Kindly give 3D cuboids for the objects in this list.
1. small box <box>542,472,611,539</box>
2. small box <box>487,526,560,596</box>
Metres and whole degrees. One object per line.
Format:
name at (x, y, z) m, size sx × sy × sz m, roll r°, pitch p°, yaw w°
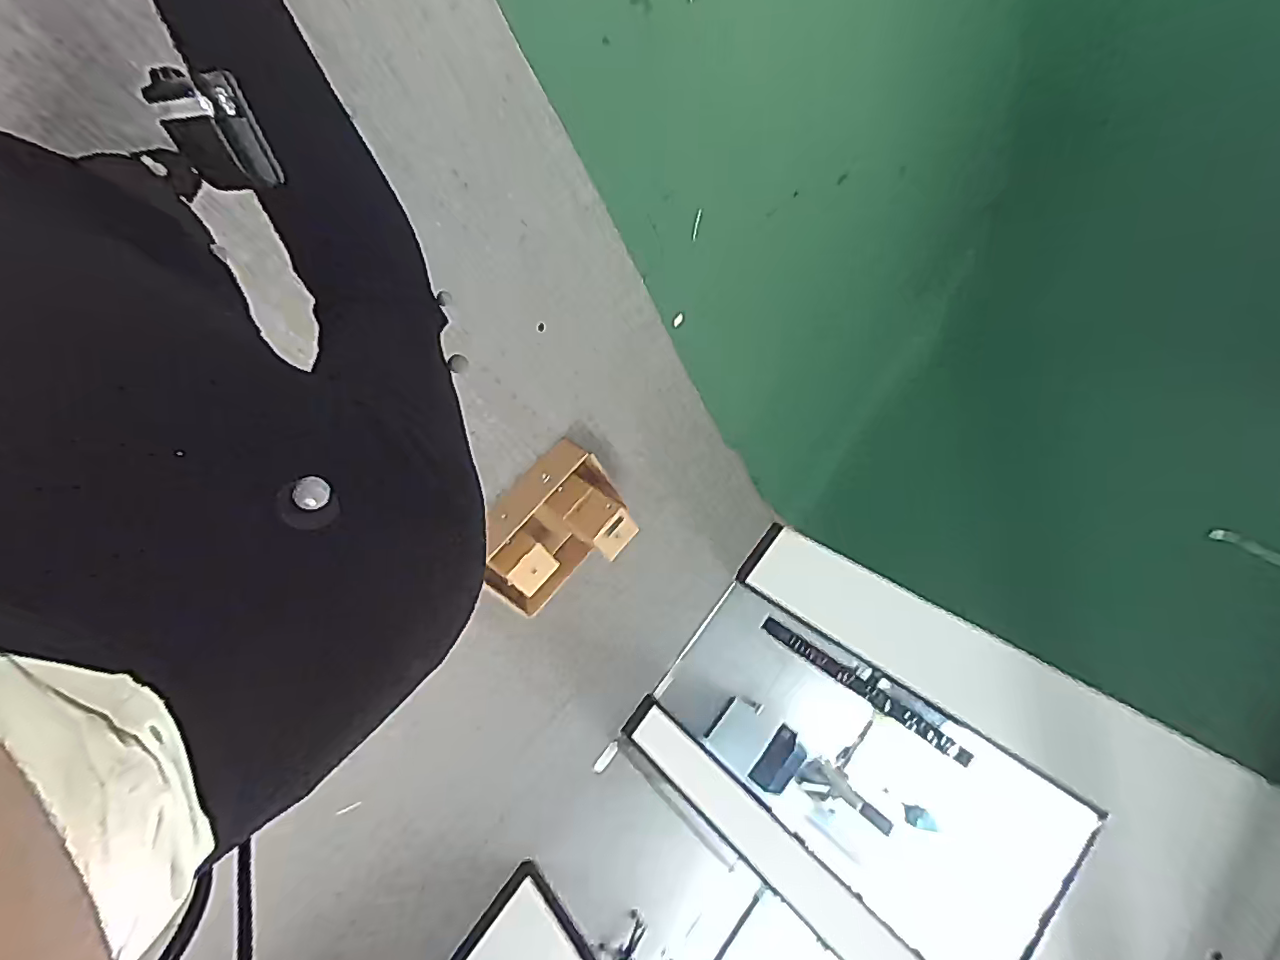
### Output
small box at (-0.251, 0.097, 2.132) m, size 0.168 × 0.176 × 0.179 m, roll -48°, pitch 140°, yaw -14°
small box at (-0.444, 0.303, 2.060) m, size 0.168 × 0.176 × 0.179 m, roll -47°, pitch 139°, yaw -15°
